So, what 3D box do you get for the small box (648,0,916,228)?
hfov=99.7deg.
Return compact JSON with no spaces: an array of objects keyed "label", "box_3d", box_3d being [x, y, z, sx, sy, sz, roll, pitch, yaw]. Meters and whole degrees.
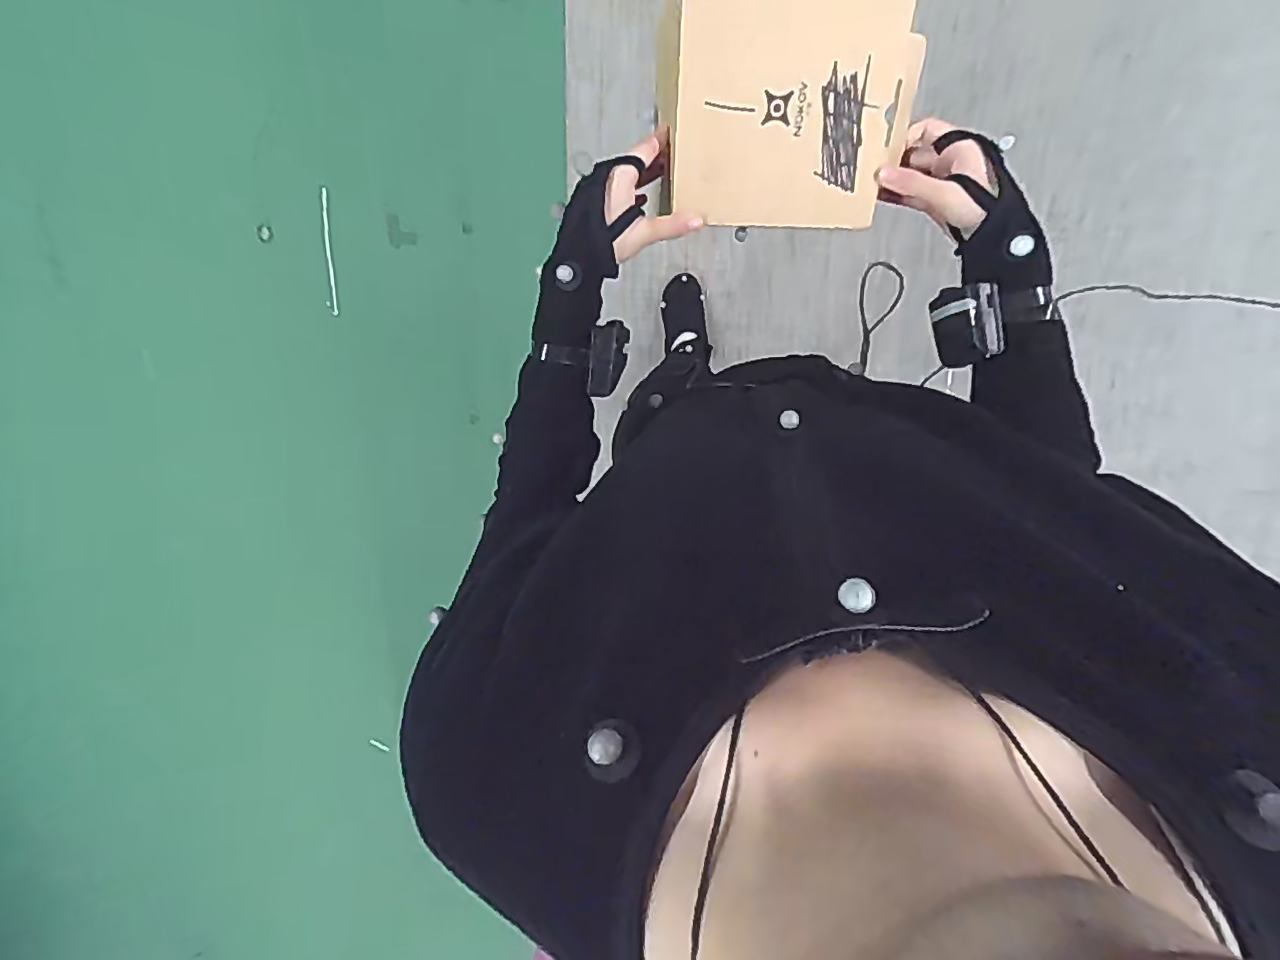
[{"label":"small box","box_3d":[0.104,-0.324,0.485,0.179,0.176,0.168,0,116,-4]}]
